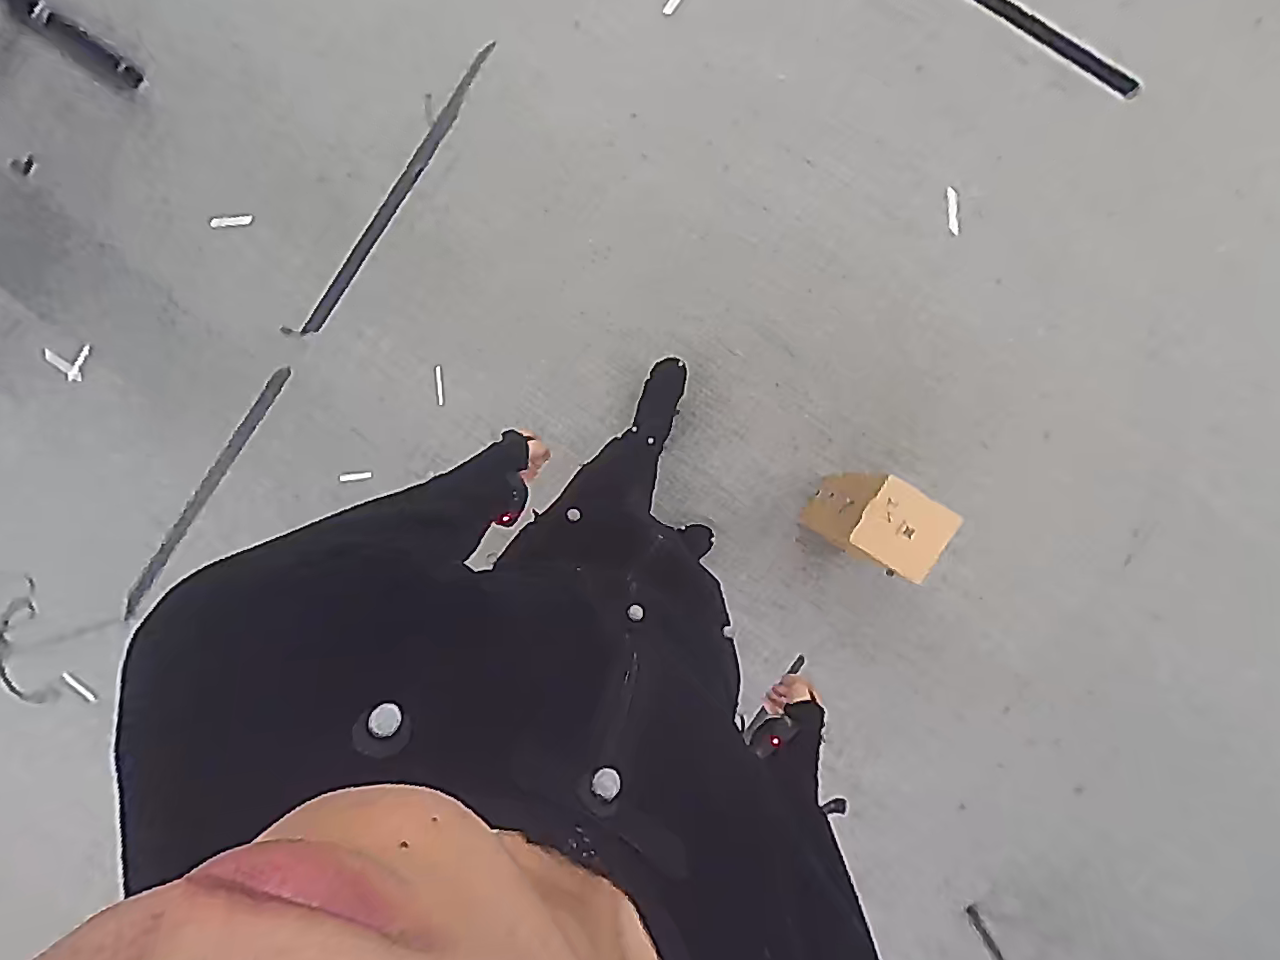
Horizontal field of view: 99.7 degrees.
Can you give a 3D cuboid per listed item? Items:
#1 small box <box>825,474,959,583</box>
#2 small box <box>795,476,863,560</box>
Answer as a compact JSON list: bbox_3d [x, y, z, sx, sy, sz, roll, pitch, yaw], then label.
[{"bbox_3d":[0.539,0.096,1.183,0.179,0.176,0.168,34,92,3],"label":"small box"},{"bbox_3d":[0.565,0.096,1.511,0.179,0.176,0.168,33,93,2],"label":"small box"}]
